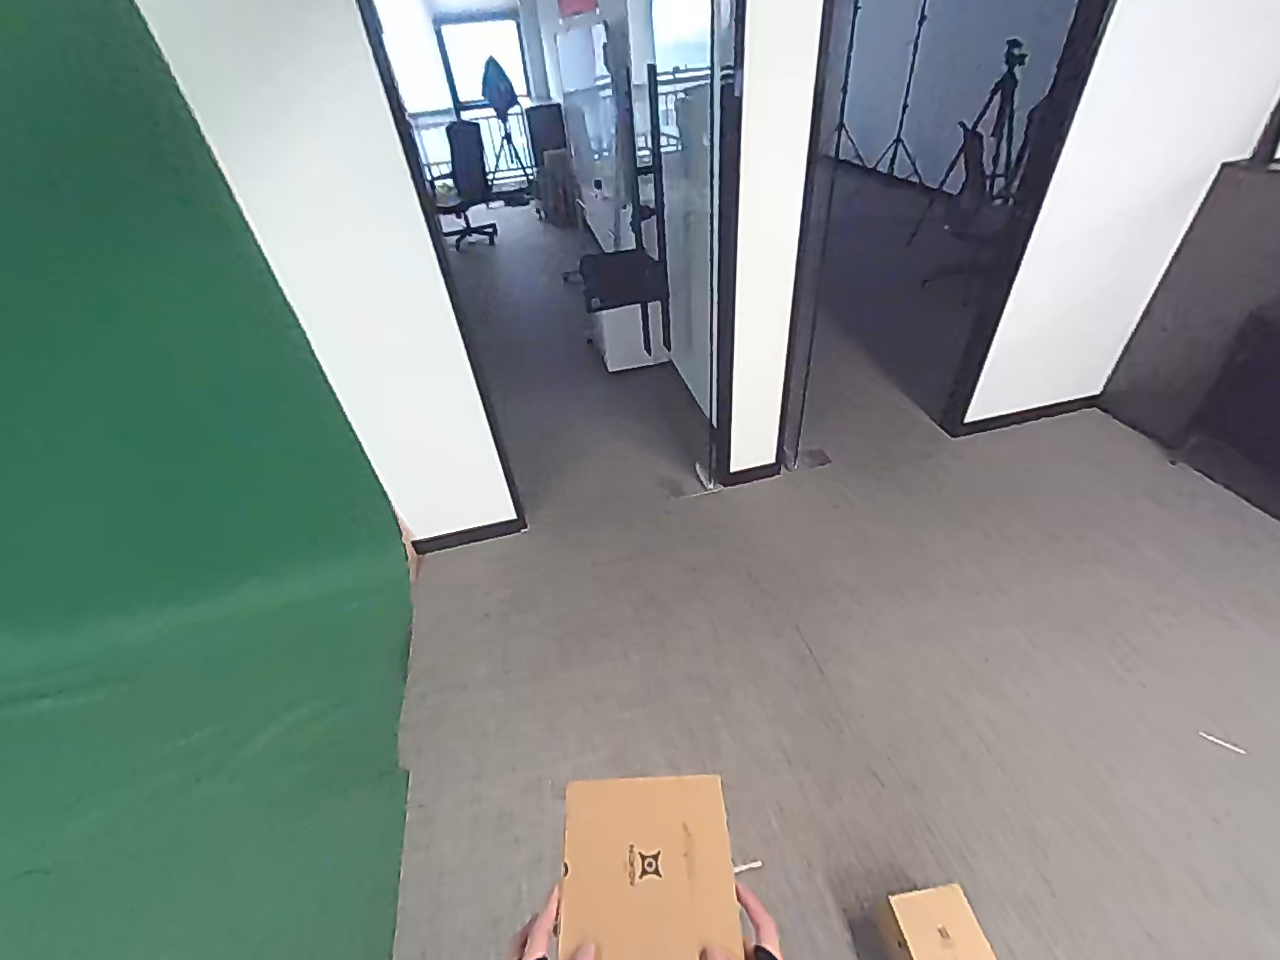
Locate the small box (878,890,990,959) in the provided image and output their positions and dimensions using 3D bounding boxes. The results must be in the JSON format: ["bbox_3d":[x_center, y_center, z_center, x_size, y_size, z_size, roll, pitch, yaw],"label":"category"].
[{"bbox_3d":[0.635,1.020,1.173,0.168,0.176,0.179,-6,41,3],"label":"small box"}]

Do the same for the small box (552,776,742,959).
[{"bbox_3d":[0.009,0.447,0.596,0.179,0.176,0.168,-3,43,0],"label":"small box"}]
